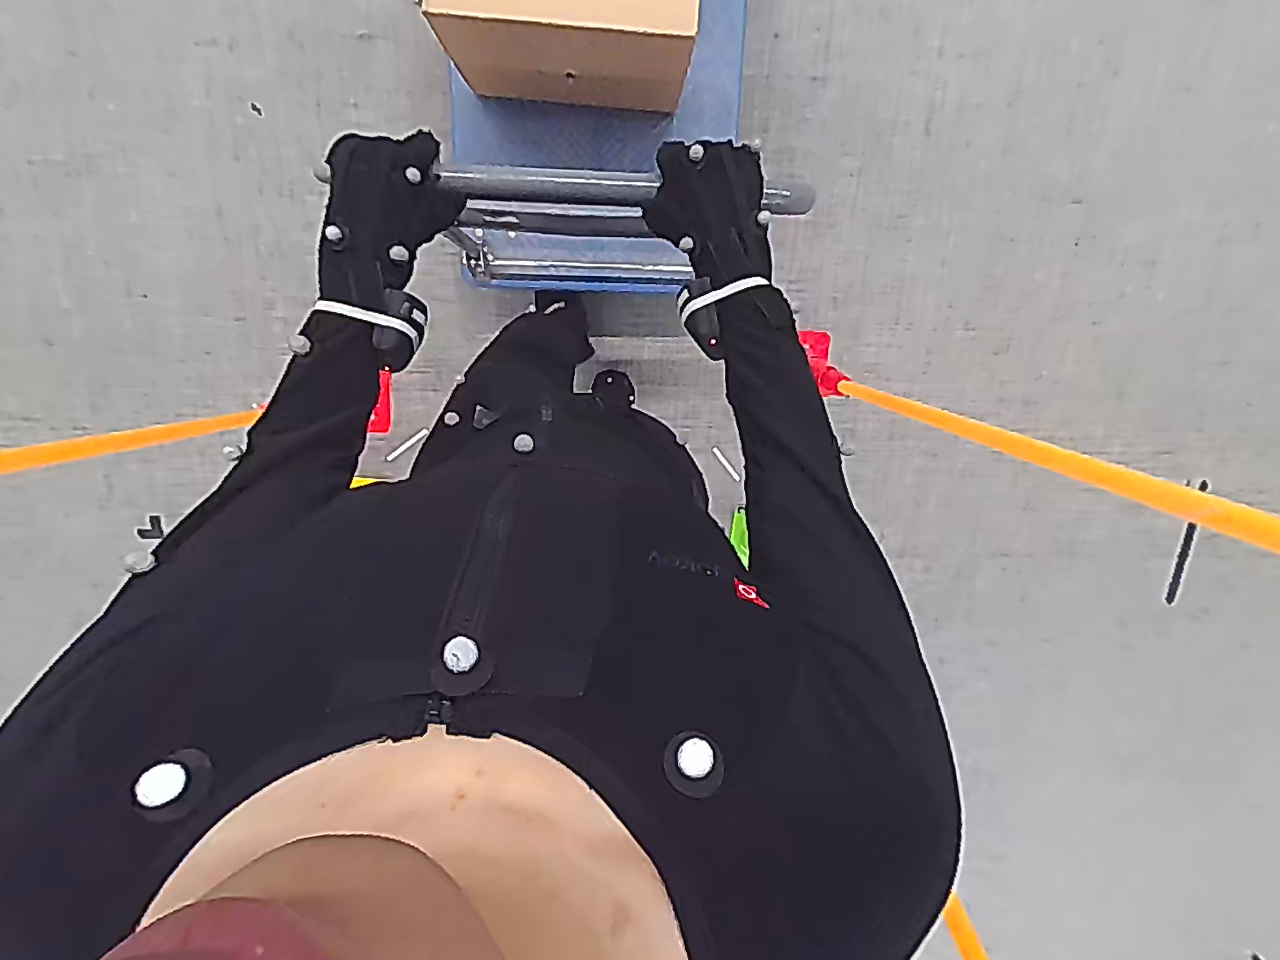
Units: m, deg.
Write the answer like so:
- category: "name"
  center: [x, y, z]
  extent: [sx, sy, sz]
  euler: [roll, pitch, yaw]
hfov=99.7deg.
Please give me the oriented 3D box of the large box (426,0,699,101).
- category: "large box"
  center: [-0.109, -0.867, 0.896]
  extent: [0.408, 0.320, 0.320]
  euler: [3, 106, -2]

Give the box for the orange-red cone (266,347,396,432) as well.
- category: "orange-red cone"
  center: [-0.726, -0.187, 1.230]
  extent: [0.198, 0.360, 0.199]
  euler: [8, 104, -5]

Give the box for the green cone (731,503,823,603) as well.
- category: "green cone"
  center: [0.375, 0.211, 1.375]
  extent: [0.202, 0.368, 0.200]
  euler: [4, 106, -4]
